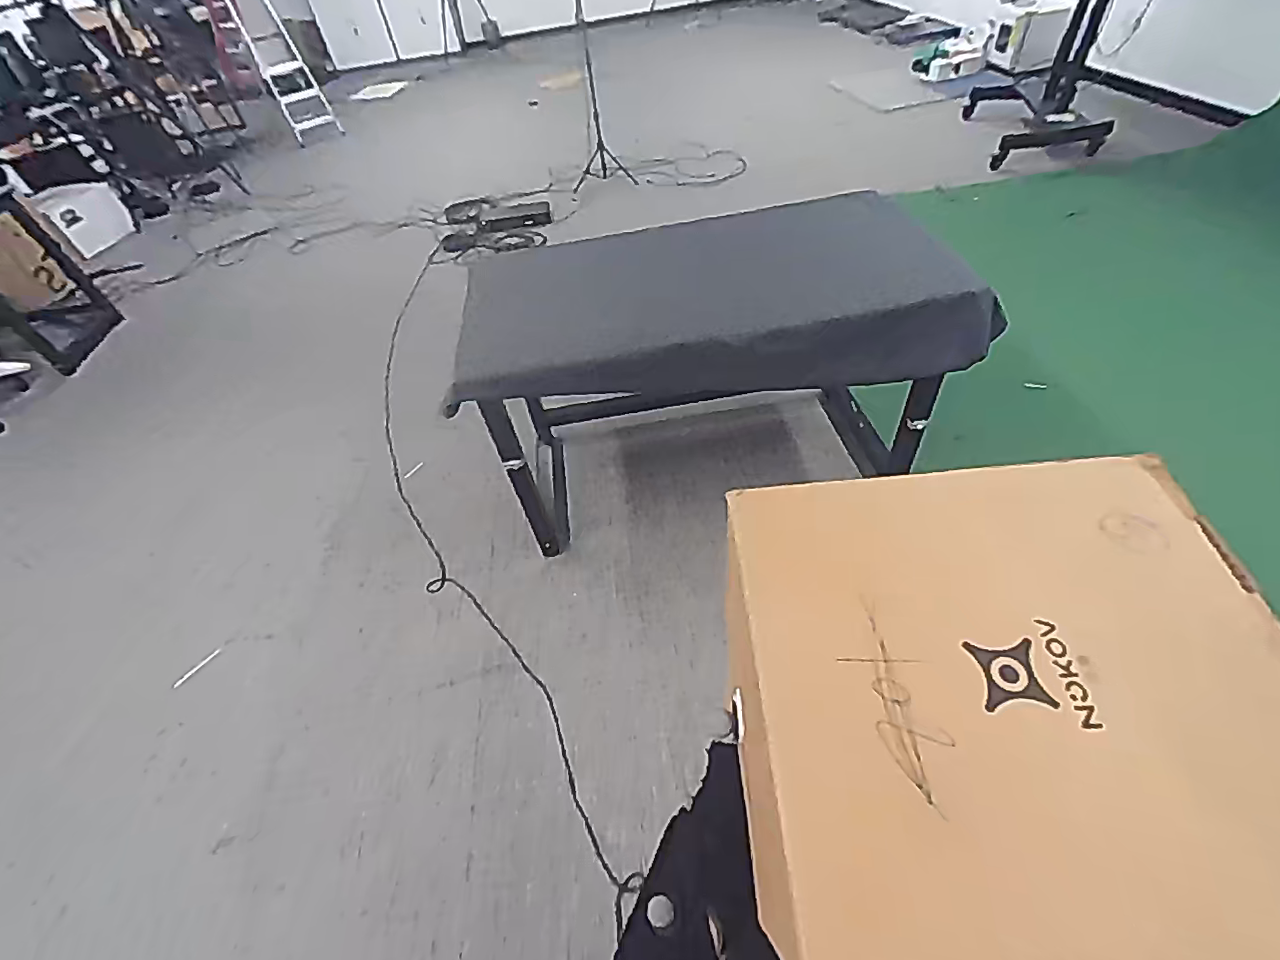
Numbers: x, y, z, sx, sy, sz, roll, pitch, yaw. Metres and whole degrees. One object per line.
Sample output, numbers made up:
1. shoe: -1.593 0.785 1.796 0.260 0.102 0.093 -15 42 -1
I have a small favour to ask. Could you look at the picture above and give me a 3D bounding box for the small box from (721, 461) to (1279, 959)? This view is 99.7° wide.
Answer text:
1. small box: 0.135 0.111 0.260 0.179 0.176 0.168 -6 56 5
